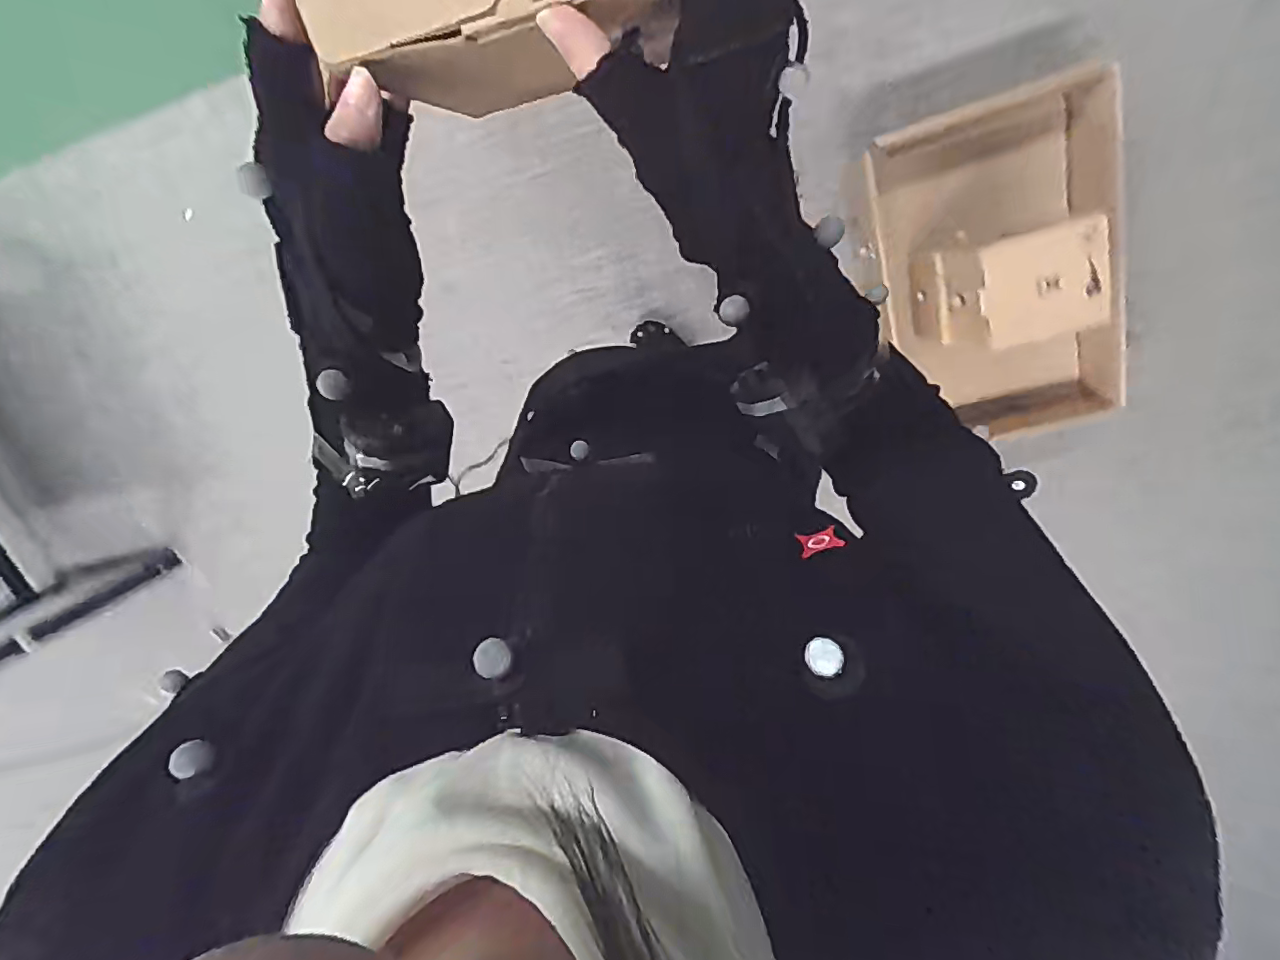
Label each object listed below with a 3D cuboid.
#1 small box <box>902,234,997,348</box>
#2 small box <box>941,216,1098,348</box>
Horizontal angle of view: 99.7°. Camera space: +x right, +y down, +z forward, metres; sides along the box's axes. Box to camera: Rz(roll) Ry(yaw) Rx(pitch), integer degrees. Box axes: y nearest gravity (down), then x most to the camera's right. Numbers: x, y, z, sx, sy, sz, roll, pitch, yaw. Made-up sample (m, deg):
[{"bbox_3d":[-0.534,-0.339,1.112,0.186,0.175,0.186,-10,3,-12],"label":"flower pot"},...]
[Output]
[{"bbox_3d":[0.644,-0.384,1.085,0.168,0.176,0.179,-13,110,13],"label":"small box"},{"bbox_3d":[0.637,-0.335,0.929,0.179,0.176,0.168,-12,109,13],"label":"small box"}]
